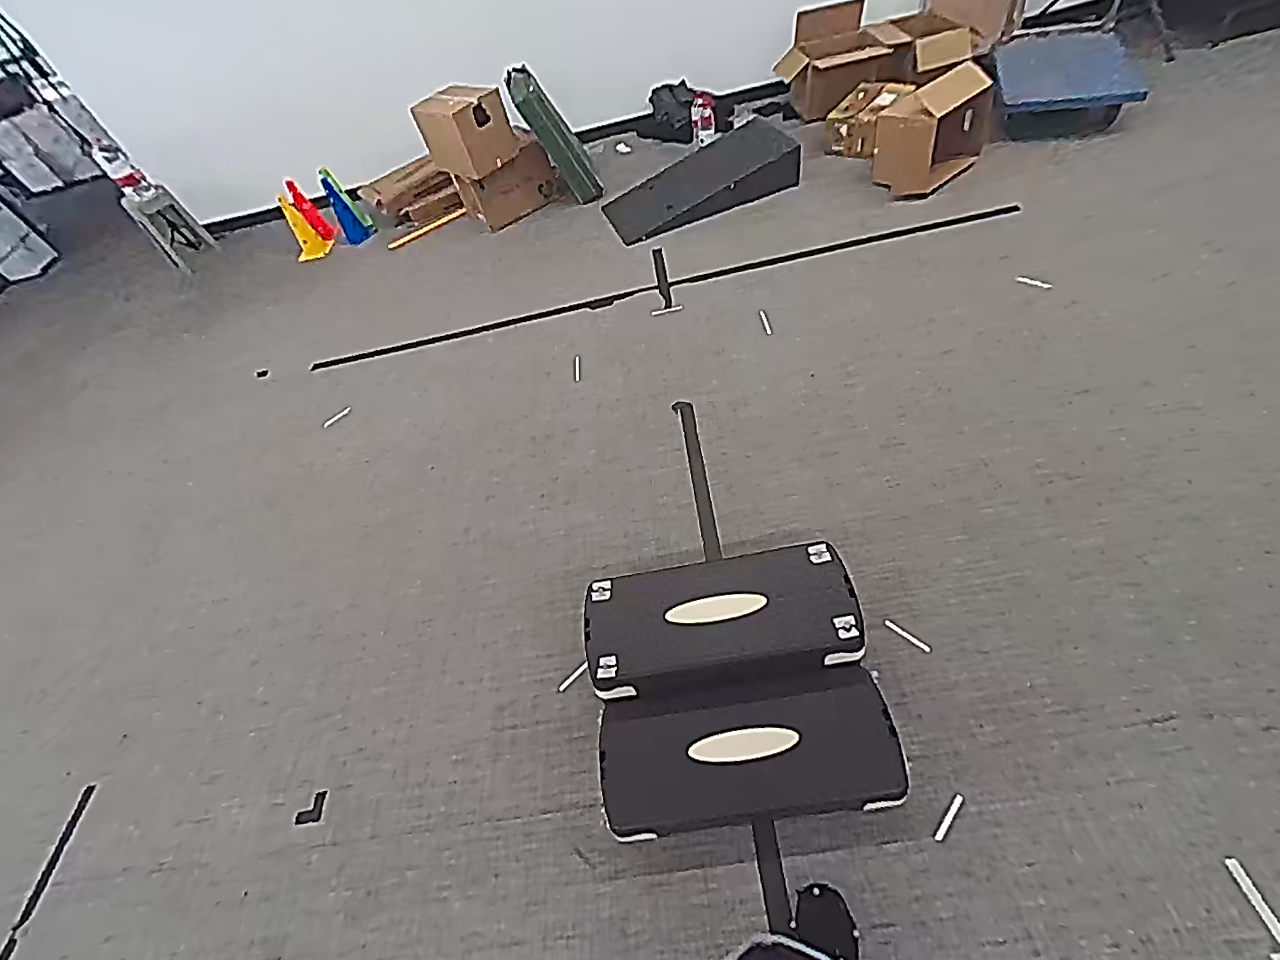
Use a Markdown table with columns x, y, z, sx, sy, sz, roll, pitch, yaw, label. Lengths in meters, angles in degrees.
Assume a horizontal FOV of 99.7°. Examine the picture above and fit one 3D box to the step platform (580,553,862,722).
| x | y | z | sx | sy | sz | roll | pitch | yaw | label |
| --- | --- | --- | --- | --- | --- | --- | --- | --- | --- |
| 0.191 | 0.397 | 1.372 | 0.684 | 0.204 | 0.286 | -11 | 52 | 4 | step platform |
